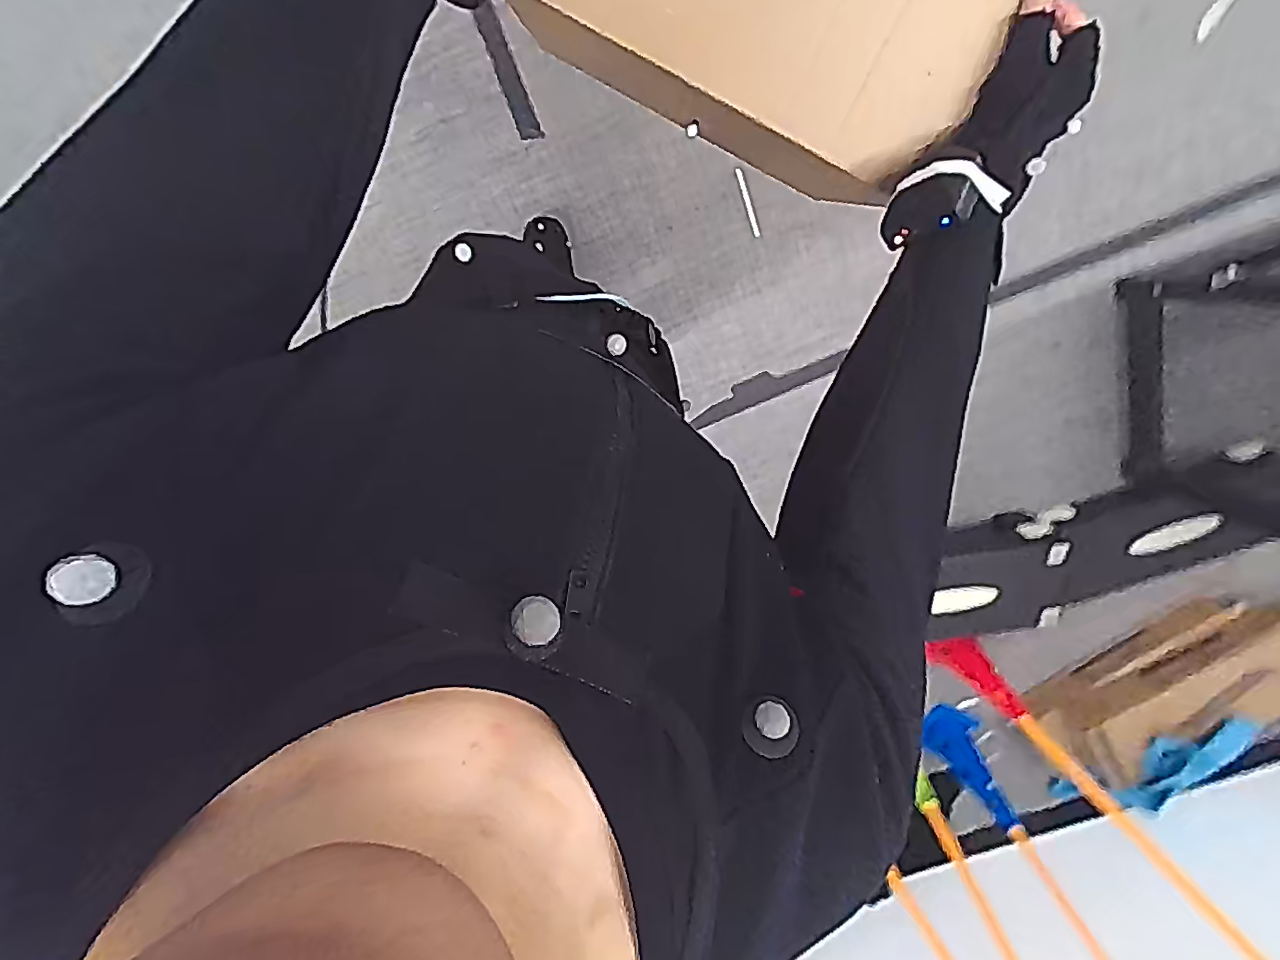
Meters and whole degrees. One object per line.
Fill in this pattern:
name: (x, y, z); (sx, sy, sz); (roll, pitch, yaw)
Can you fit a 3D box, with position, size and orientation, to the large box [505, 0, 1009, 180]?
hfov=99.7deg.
large box: (0.110, -0.519, 0.498); (0.408, 0.320, 0.320); (21, 116, -11)
